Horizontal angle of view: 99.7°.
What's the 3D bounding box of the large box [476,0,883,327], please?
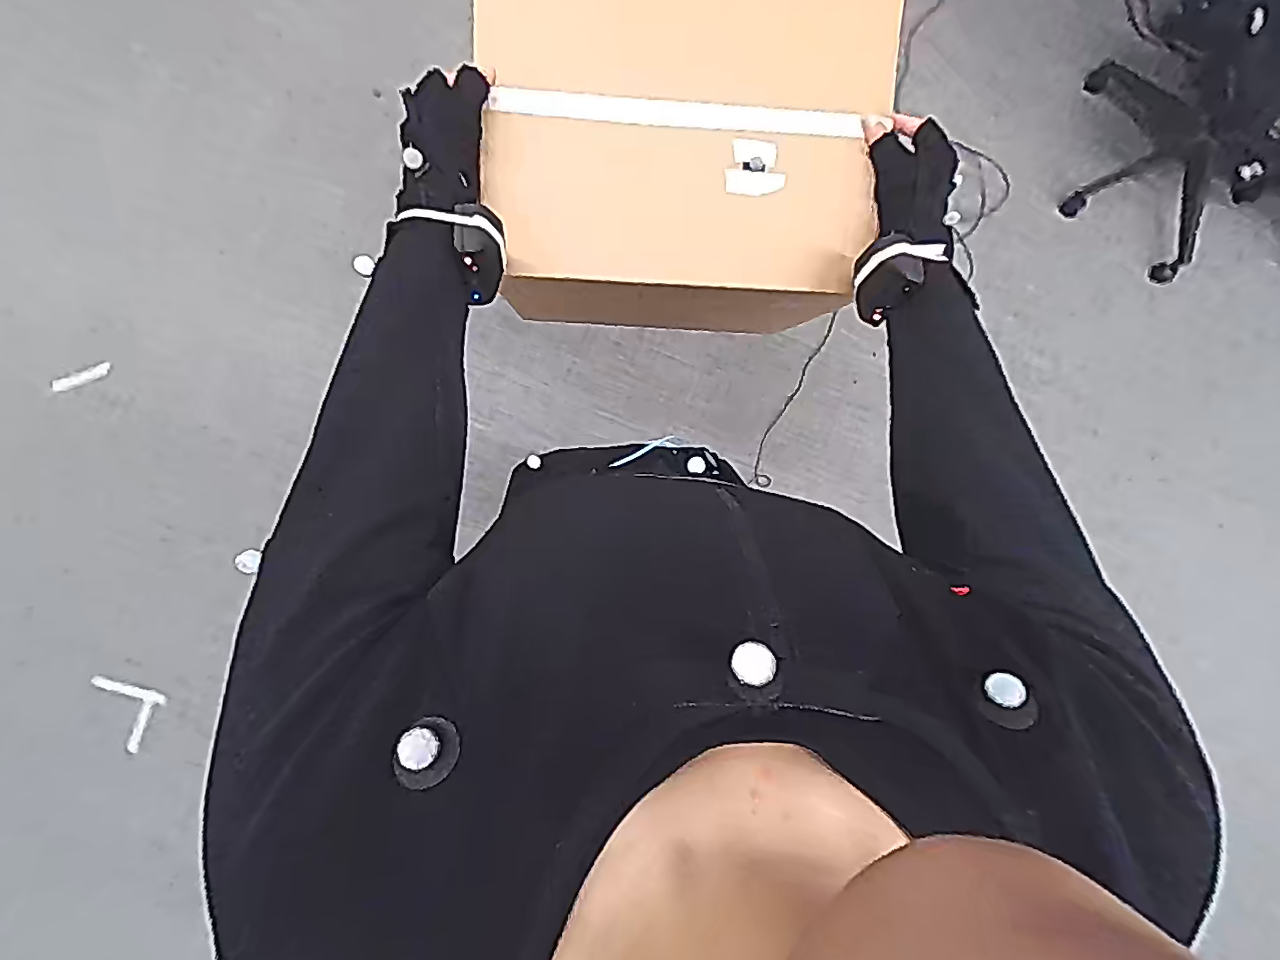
[{"bbox_3d":[0.029,-0.374,0.682,0.408,0.320,0.320,0,99,-5],"label":"large box"}]
